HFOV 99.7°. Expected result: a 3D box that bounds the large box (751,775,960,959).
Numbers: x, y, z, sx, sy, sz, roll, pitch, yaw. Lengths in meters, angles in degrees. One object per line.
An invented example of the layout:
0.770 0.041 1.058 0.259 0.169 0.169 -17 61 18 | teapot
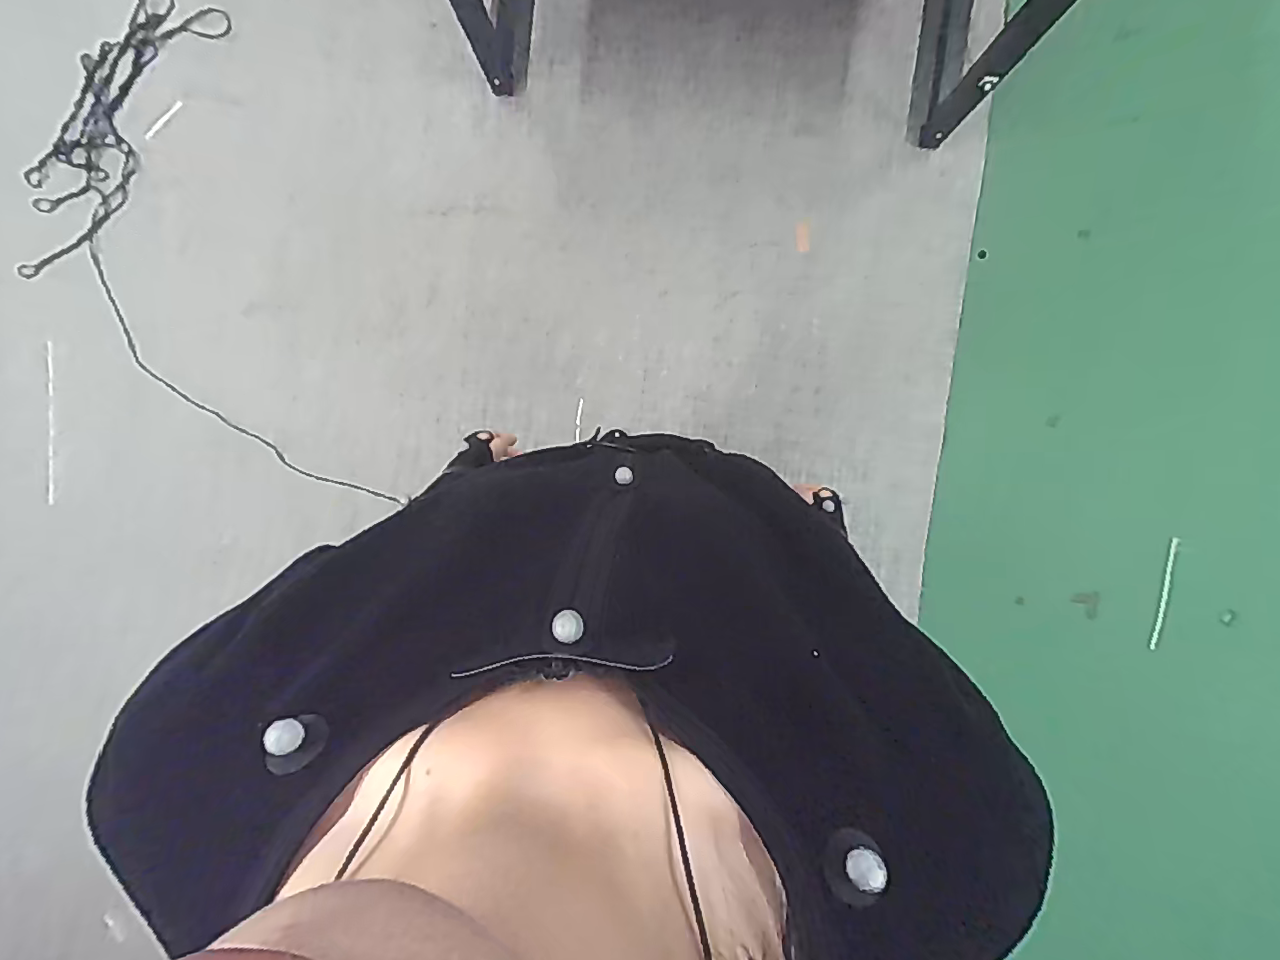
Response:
0.534 1.023 1.408 0.408 0.320 0.320 -8 94 1 | large box
